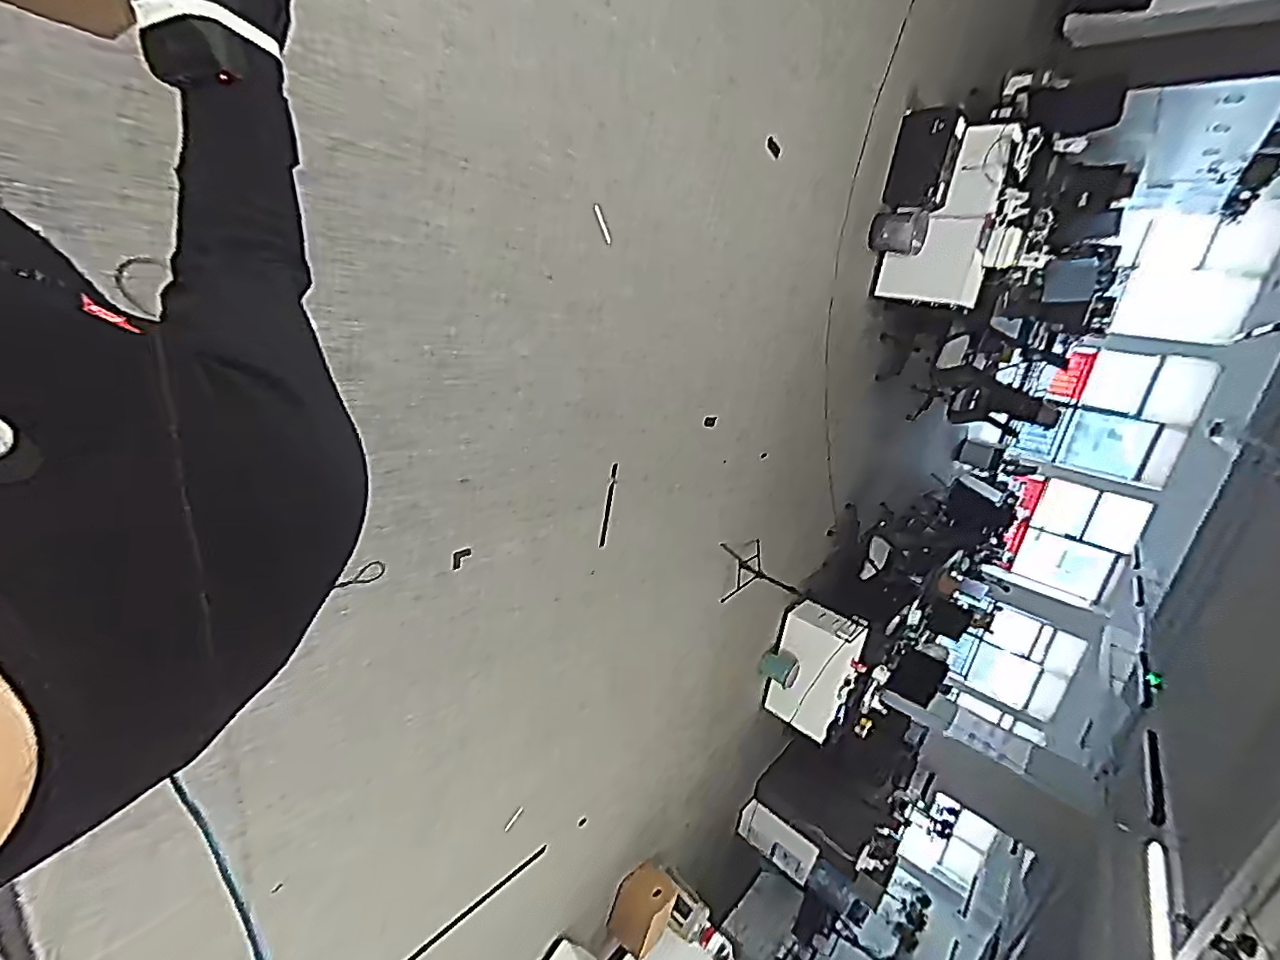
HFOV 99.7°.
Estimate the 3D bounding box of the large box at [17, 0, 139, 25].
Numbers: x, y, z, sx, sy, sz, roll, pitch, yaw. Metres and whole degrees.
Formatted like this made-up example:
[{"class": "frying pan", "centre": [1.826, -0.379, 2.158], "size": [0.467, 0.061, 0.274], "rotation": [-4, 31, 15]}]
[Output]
[{"class": "large box", "centre": [-0.529, -0.509, 0.260], "size": [0.408, 0.320, 0.320], "rotation": [-13, 122, -49]}]
